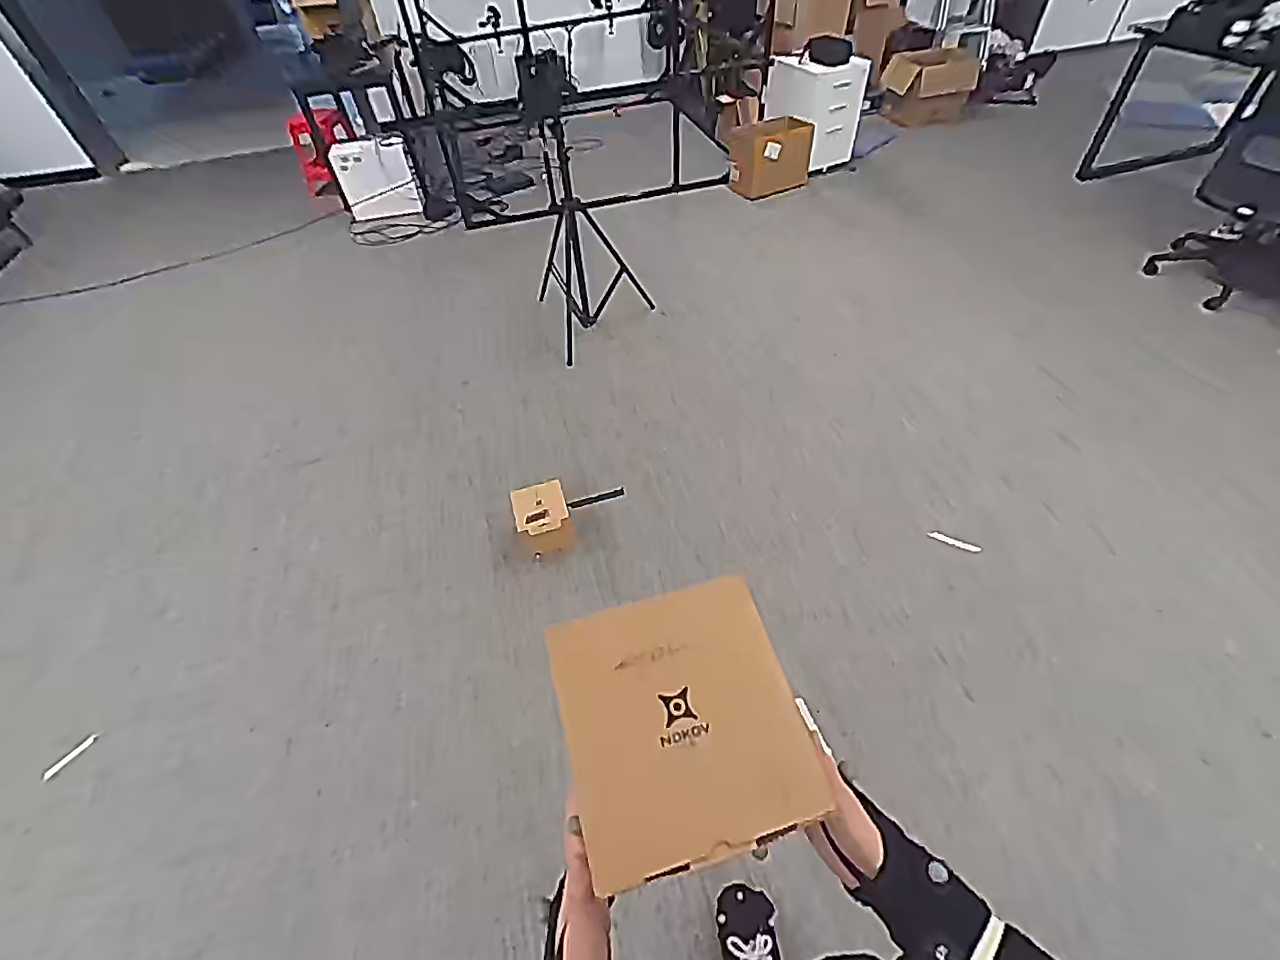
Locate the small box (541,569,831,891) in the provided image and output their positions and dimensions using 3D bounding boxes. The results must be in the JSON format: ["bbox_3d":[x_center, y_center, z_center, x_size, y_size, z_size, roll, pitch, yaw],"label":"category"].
[{"bbox_3d":[0.025,0.203,0.451,0.168,0.176,0.179,-14,58,-10],"label":"small box"}]

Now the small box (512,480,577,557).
[{"bbox_3d":[-0.312,0.136,1.784,0.168,0.176,0.179,-16,49,-9],"label":"small box"}]
